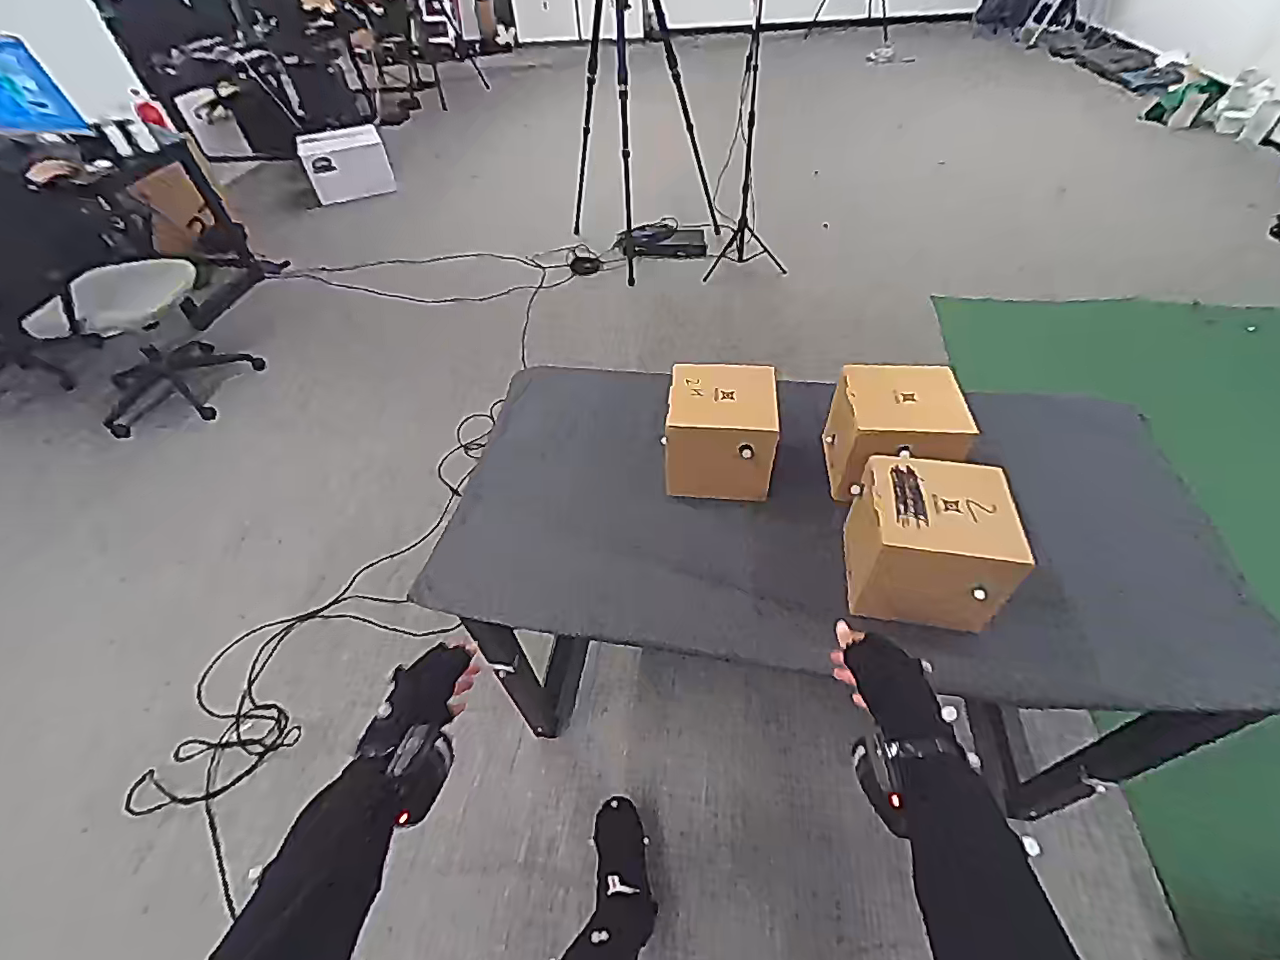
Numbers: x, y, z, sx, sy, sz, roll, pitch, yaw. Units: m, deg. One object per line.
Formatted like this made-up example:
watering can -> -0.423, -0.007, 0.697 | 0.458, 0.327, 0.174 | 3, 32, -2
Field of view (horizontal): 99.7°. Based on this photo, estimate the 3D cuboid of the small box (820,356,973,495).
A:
small box -> 0.416, -0.089, 0.910 | 0.179, 0.176, 0.168 | 2, 49, 7

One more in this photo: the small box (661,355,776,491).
small box -> 0.132, -0.095, 0.935 | 0.179, 0.176, 0.168 | 3, 48, 7
